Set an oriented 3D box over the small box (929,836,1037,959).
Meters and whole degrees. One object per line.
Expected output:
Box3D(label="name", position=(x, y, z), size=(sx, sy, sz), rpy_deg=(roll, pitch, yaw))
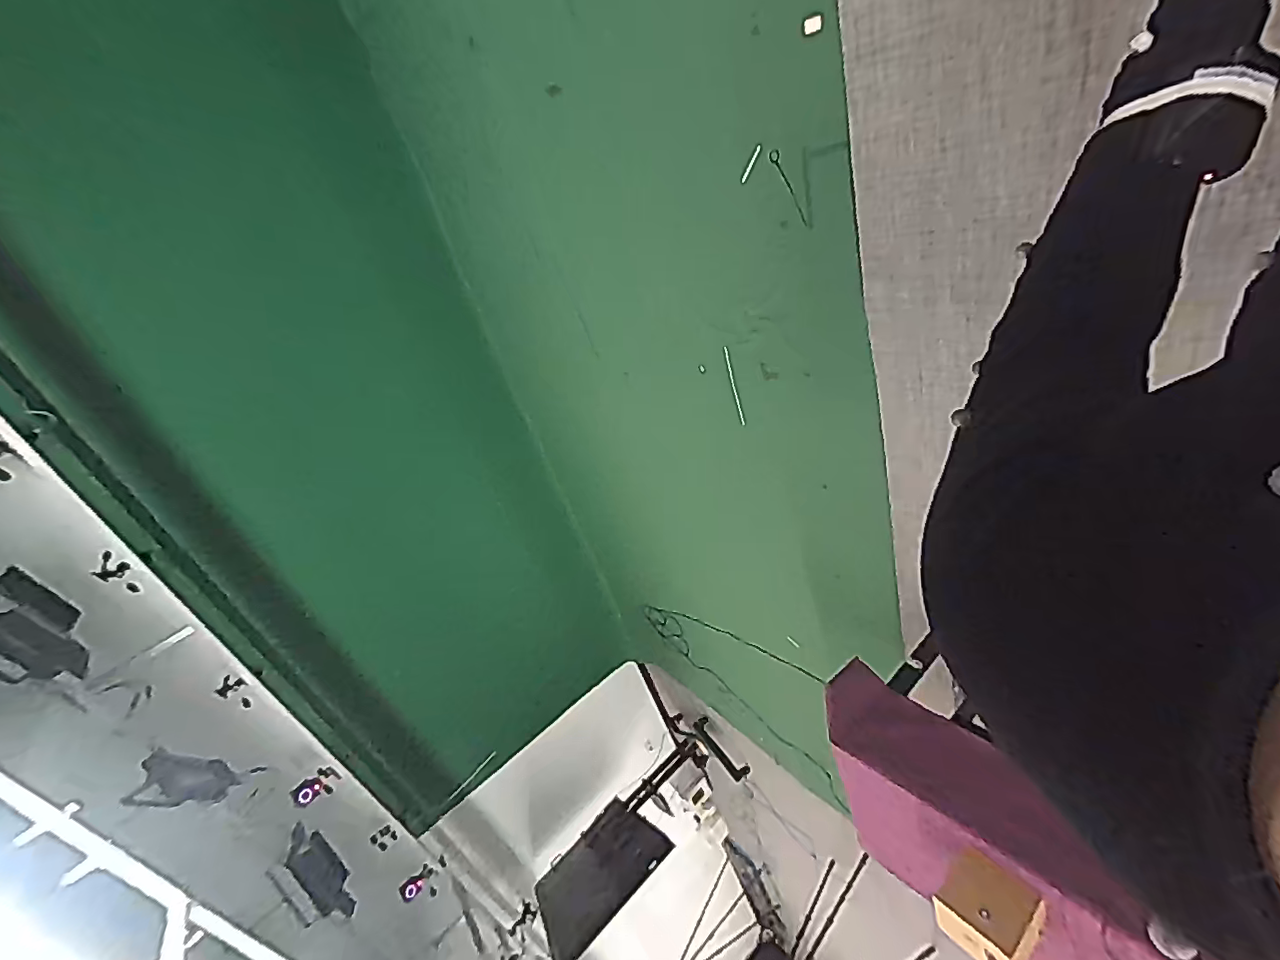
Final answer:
Box3D(label="small box", position=(0.848, 1.036, 1.333), size=(0.179, 0.176, 0.168), rpy_deg=(21, 138, 52))
